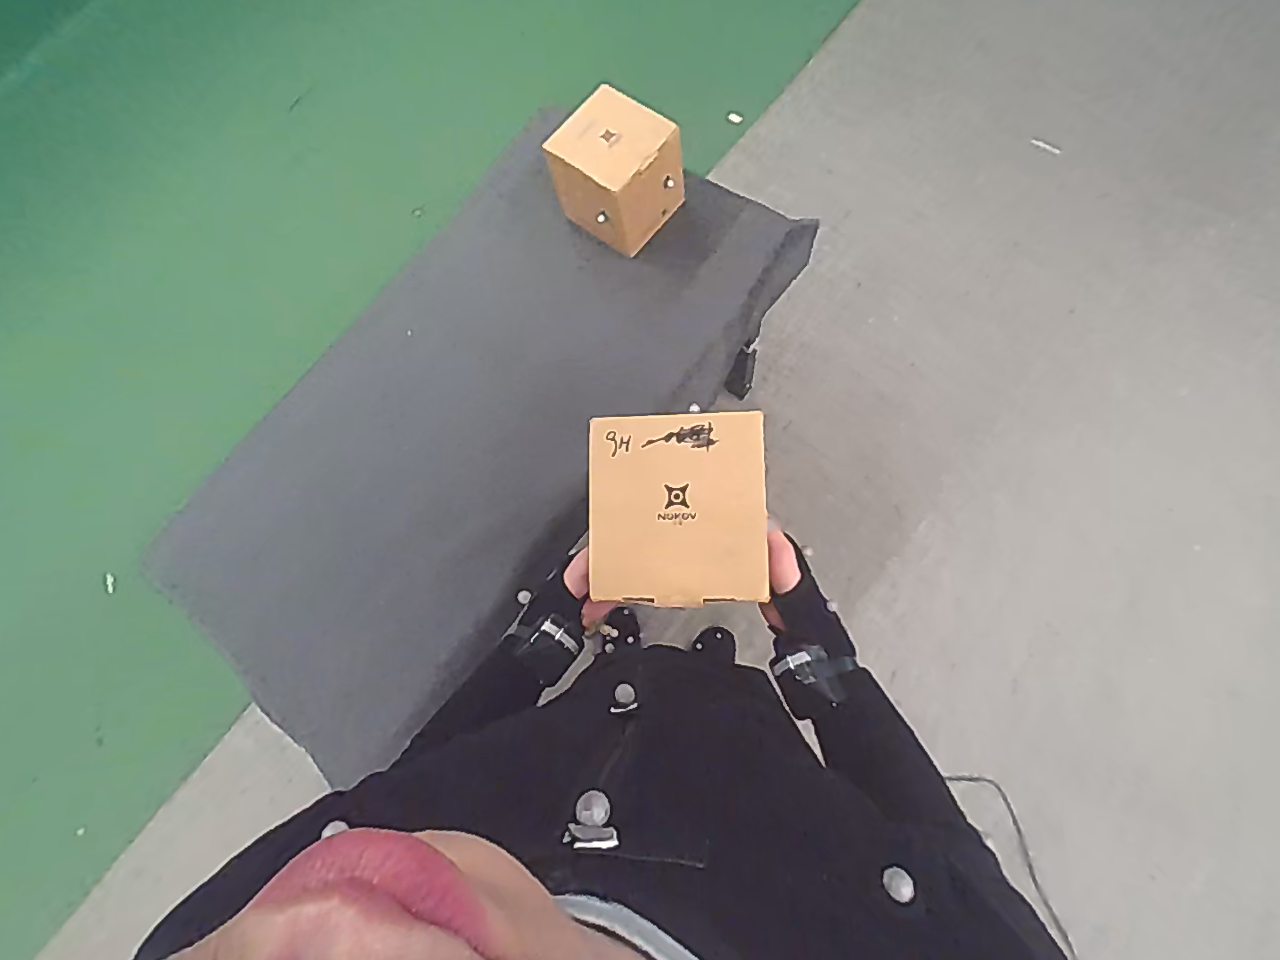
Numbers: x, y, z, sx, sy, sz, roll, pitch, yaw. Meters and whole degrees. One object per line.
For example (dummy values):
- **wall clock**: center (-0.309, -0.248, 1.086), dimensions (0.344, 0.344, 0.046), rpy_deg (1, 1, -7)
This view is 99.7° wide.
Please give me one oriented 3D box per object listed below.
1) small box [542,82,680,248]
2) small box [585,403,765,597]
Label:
- **small box**: center (-0.041, -0.558, 0.981), dimensions (0.179, 0.176, 0.168), rpy_deg (38, 82, 16)
- **small box**: center (0.041, 0.024, 0.569), dimensions (0.168, 0.176, 0.179), rpy_deg (-1, 84, 7)
